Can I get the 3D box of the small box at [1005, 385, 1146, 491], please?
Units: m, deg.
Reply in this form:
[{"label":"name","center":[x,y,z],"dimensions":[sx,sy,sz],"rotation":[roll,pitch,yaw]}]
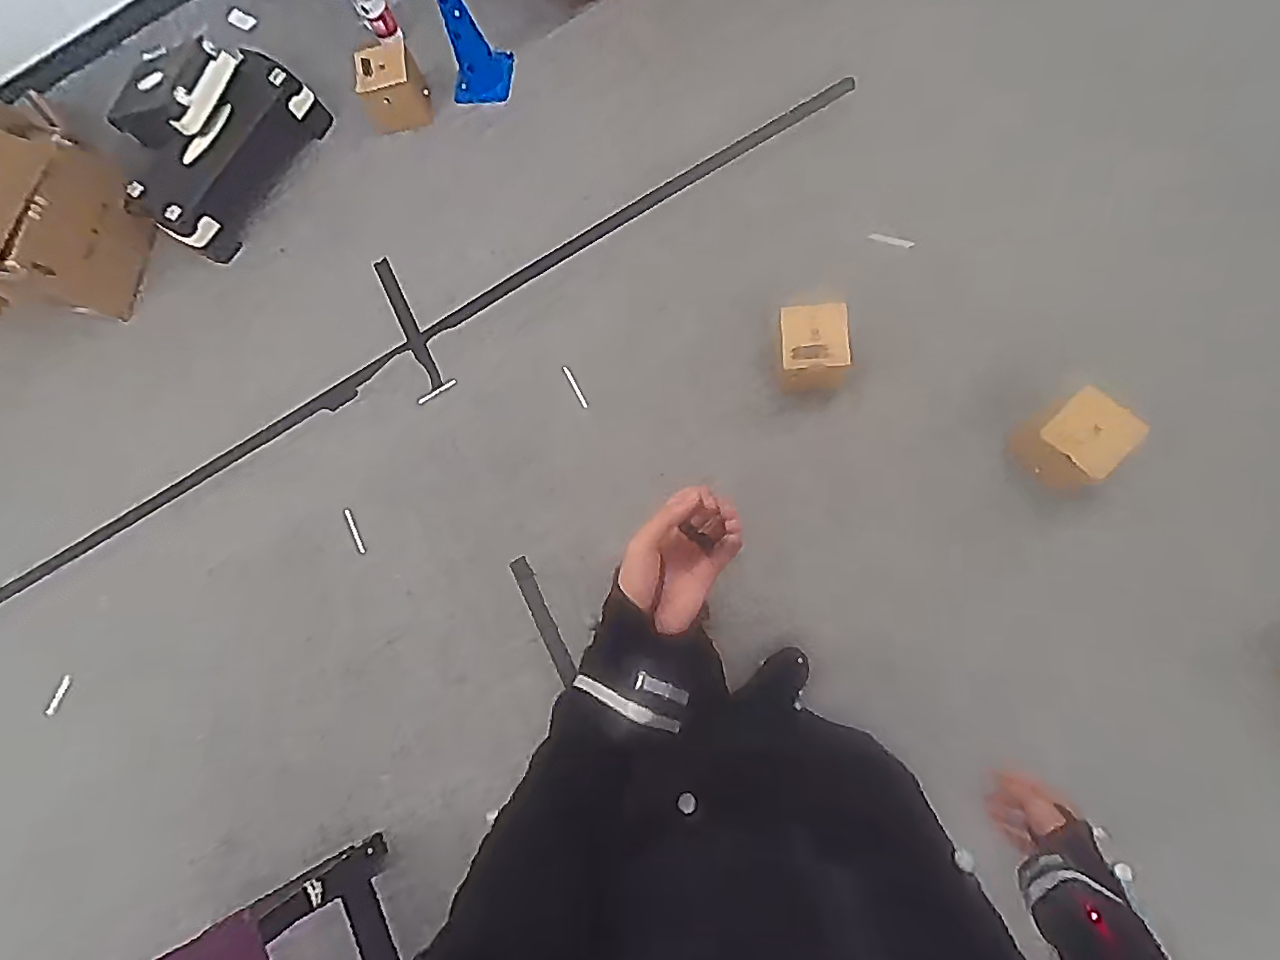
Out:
[{"label":"small box","center":[1.051,-0.096,1.326],"dimensions":[0.179,0.176,0.168],"rotation":[-44,76,-1]}]
